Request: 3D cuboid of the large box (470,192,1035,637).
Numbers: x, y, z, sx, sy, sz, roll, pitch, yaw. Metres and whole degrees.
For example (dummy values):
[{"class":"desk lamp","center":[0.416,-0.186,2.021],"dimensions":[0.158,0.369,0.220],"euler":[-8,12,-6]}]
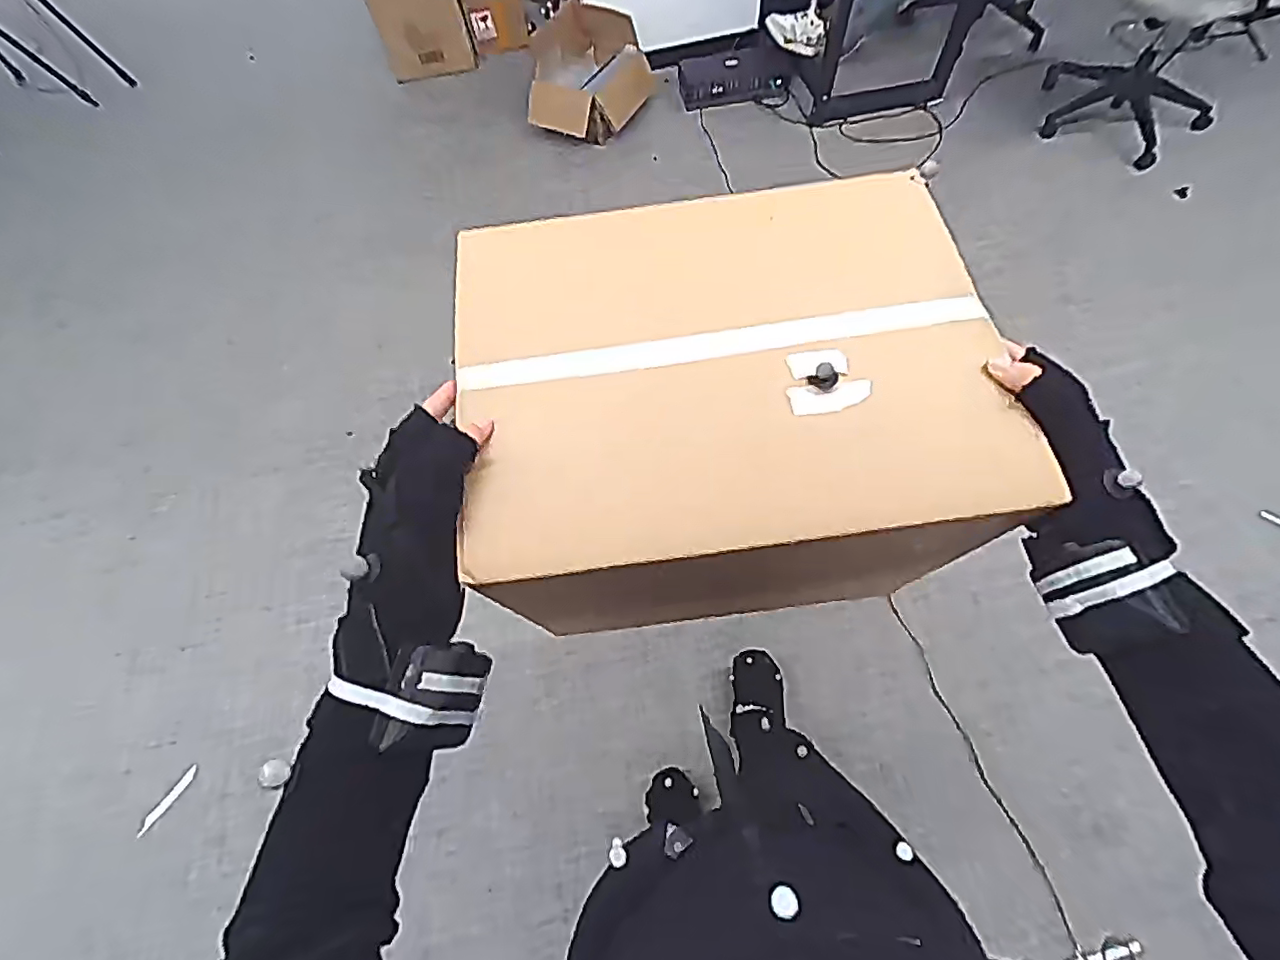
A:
[{"class":"large box","center":[0.068,-0.038,0.570],"dimensions":[0.408,0.320,0.320],"euler":[-8,67,0]}]
